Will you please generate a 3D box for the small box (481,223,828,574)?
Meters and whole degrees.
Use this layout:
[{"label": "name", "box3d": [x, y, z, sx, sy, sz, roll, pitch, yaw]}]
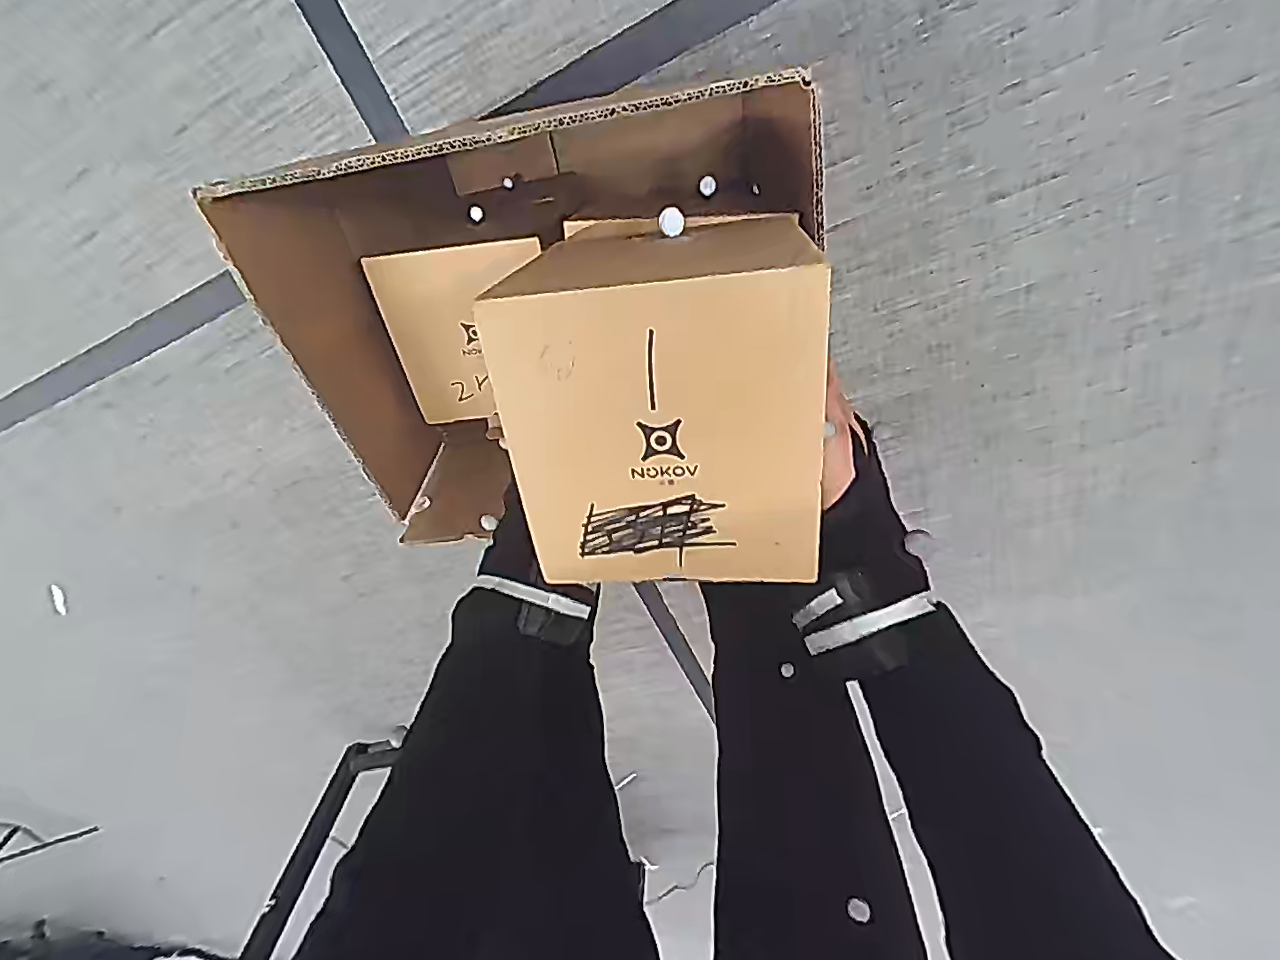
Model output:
[{"label": "small box", "box3d": [0.023, -0.058, 0.358, 0.168, 0.176, 0.179, -2, 120, 10]}]
